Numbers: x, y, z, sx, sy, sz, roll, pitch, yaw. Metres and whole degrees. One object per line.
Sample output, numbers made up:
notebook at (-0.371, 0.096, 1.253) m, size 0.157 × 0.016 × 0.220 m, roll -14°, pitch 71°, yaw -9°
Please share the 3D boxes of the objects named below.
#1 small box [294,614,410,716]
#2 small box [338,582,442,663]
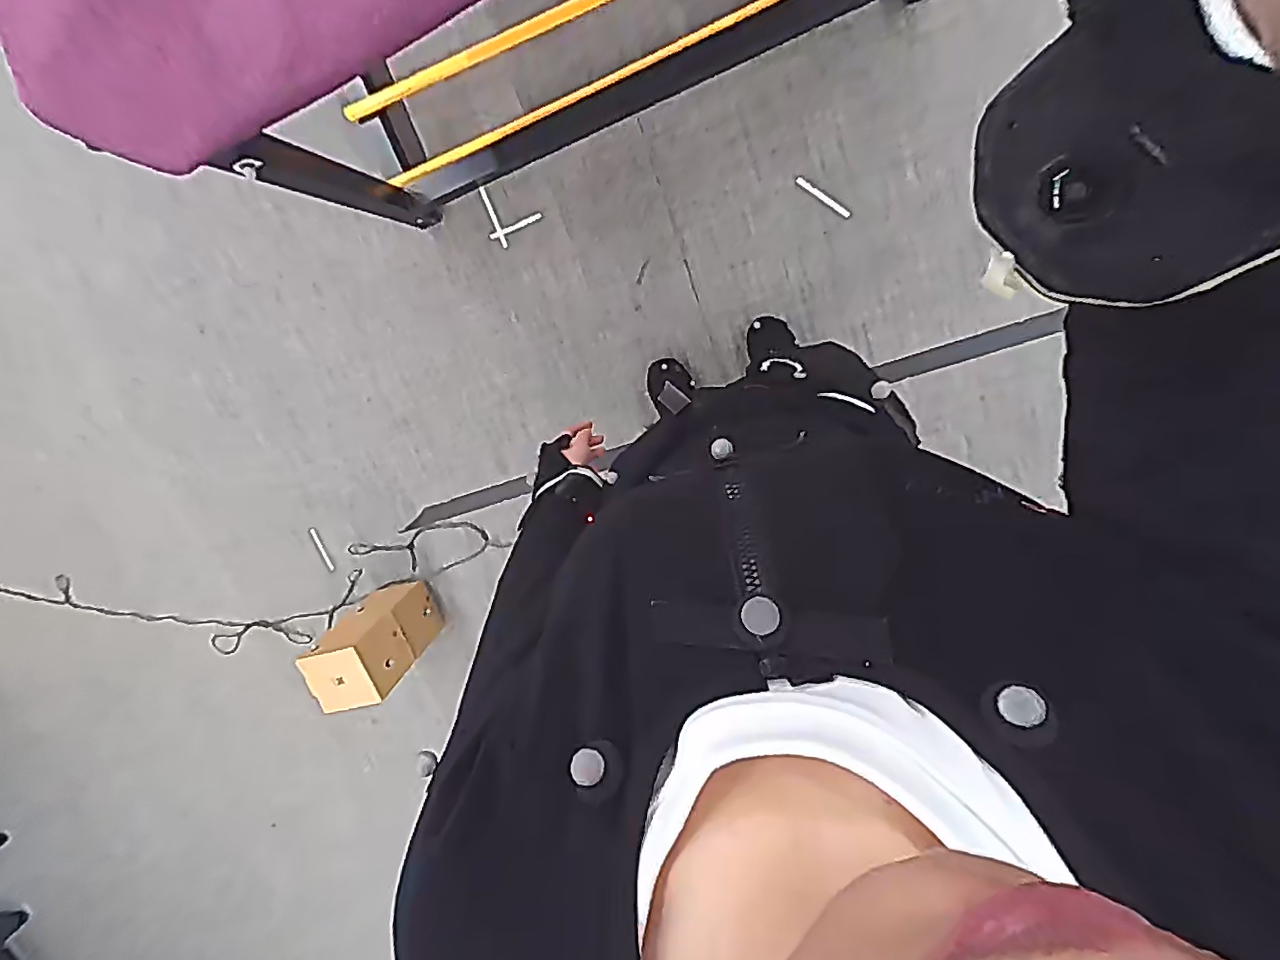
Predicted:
small box at (-0.718, 0.464, 1.379) m, size 0.179 × 0.176 × 0.168 m, roll -16°, pitch 106°, yaw 13°
small box at (-0.699, 0.412, 1.532) m, size 0.179 × 0.176 × 0.168 m, roll -16°, pitch 106°, yaw 12°
